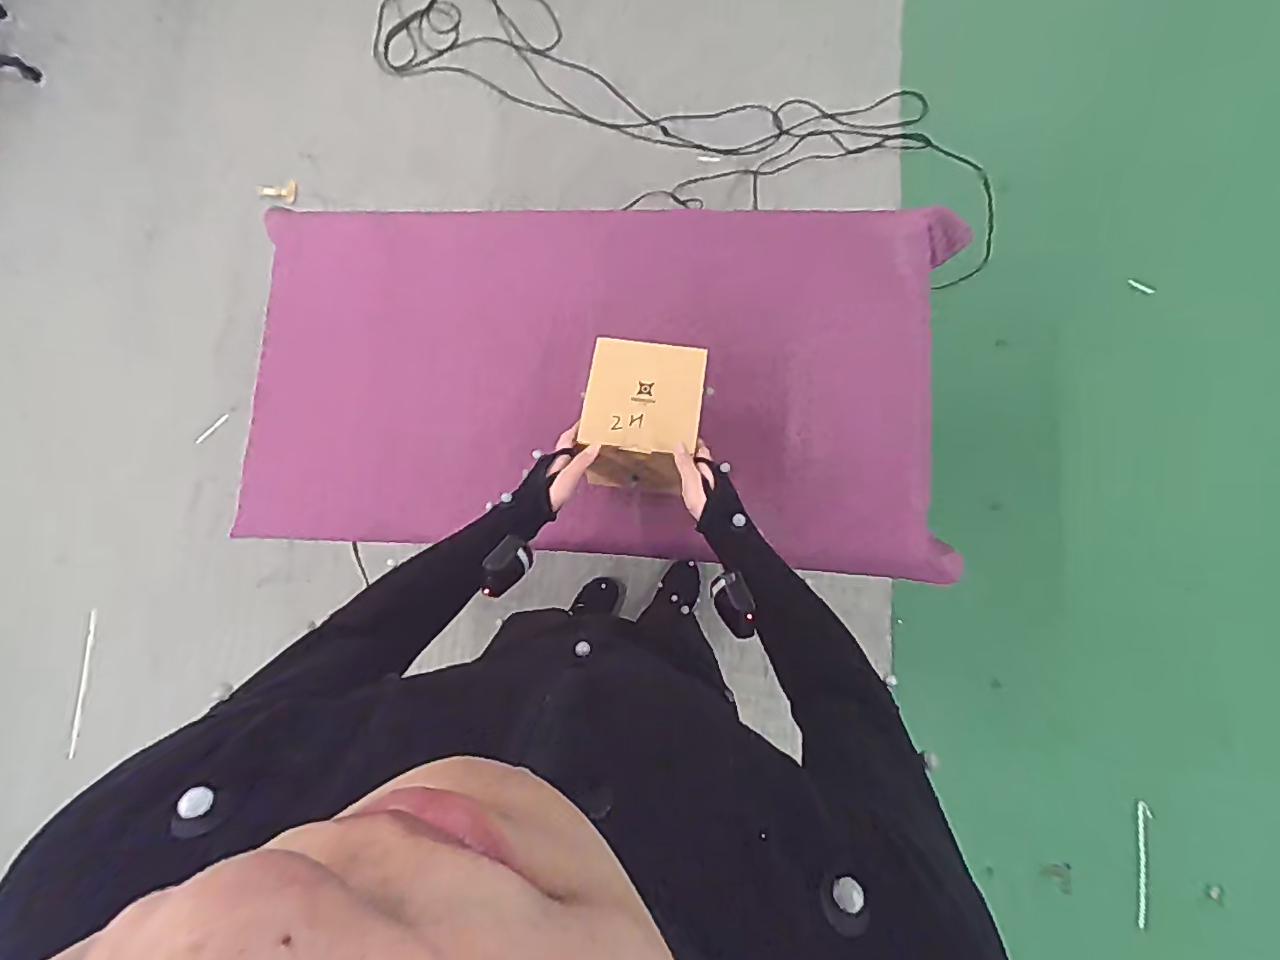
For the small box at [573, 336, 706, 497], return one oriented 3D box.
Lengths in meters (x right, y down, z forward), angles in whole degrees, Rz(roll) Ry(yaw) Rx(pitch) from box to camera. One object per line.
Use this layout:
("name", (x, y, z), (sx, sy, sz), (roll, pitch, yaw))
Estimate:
("small box", (0.001, -0.091, 0.829), (0.168, 0.176, 0.179), (8, 70, 3))
